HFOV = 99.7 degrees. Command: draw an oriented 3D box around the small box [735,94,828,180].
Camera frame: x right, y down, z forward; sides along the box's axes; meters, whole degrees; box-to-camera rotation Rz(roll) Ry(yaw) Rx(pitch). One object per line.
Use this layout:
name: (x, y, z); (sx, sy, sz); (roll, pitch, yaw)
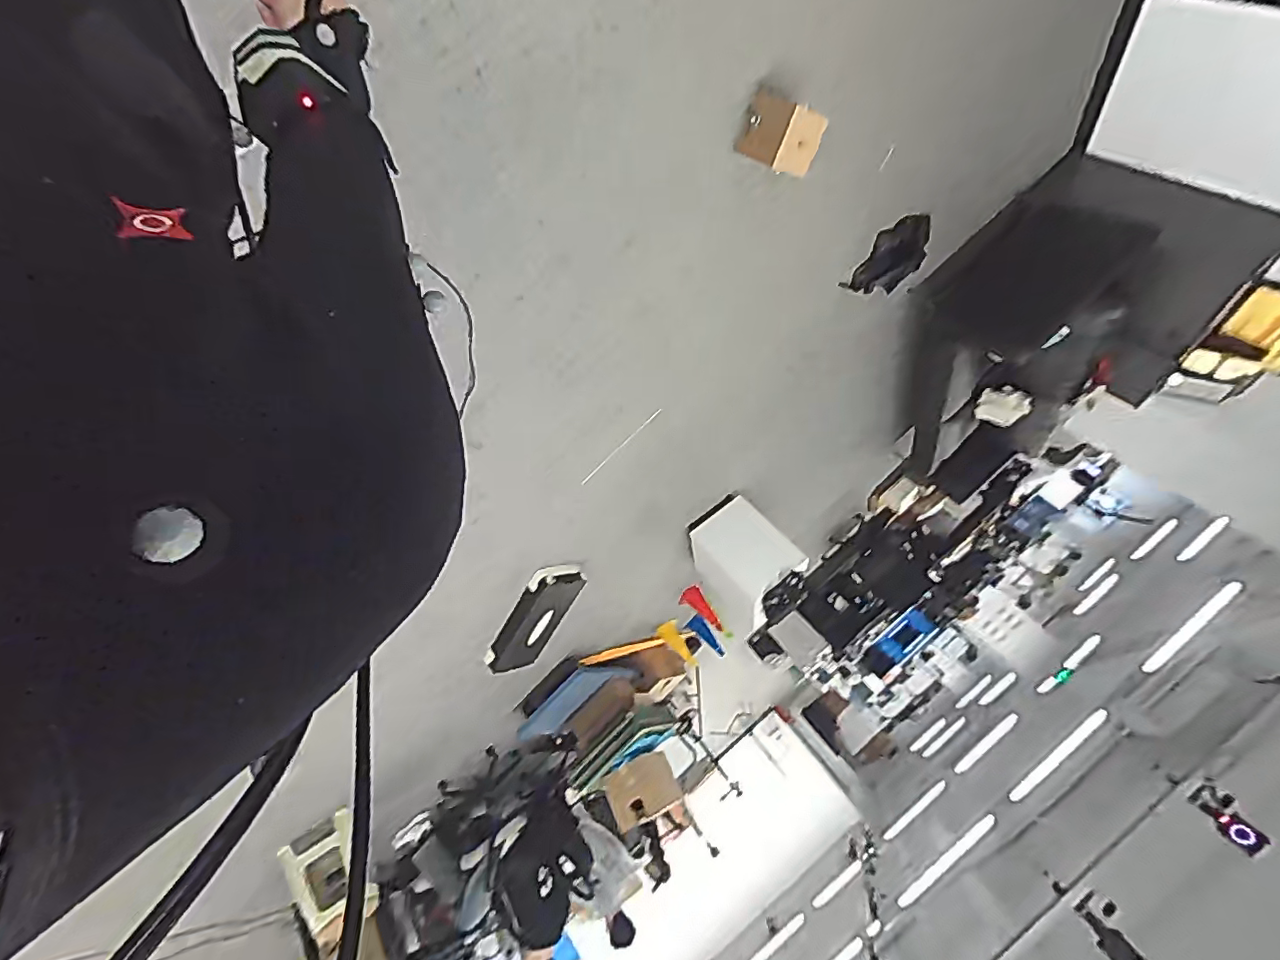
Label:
small box: (0.423, -1.039, 1.637); (0.179, 0.176, 0.168); (-13, 136, -39)
